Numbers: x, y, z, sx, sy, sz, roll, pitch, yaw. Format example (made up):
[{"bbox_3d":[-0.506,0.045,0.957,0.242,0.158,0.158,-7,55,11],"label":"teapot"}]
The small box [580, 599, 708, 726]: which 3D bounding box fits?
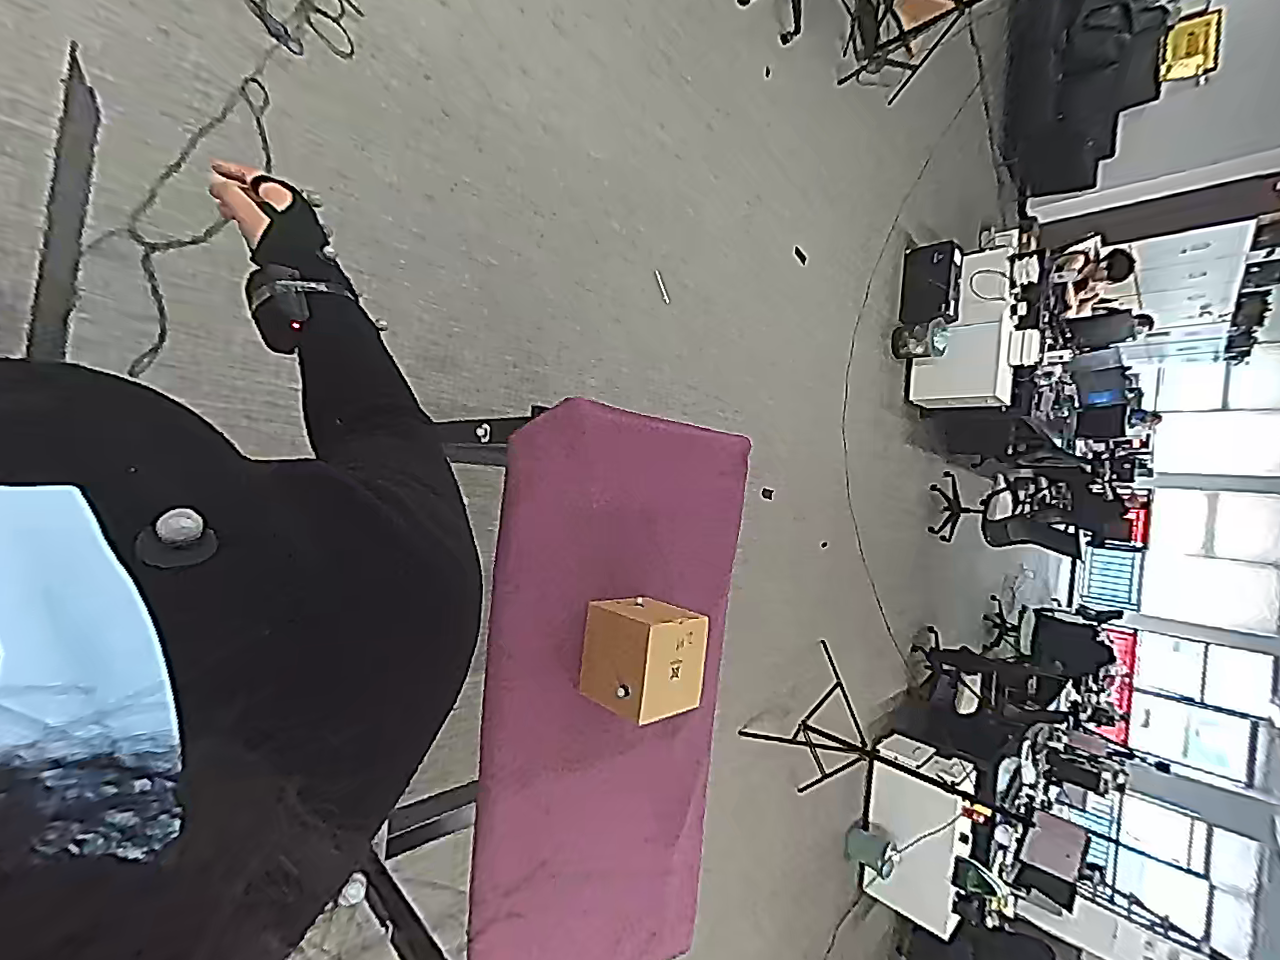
[{"bbox_3d":[0.005,0.334,1.028,0.168,0.176,0.179,8,88,-46],"label":"small box"}]
